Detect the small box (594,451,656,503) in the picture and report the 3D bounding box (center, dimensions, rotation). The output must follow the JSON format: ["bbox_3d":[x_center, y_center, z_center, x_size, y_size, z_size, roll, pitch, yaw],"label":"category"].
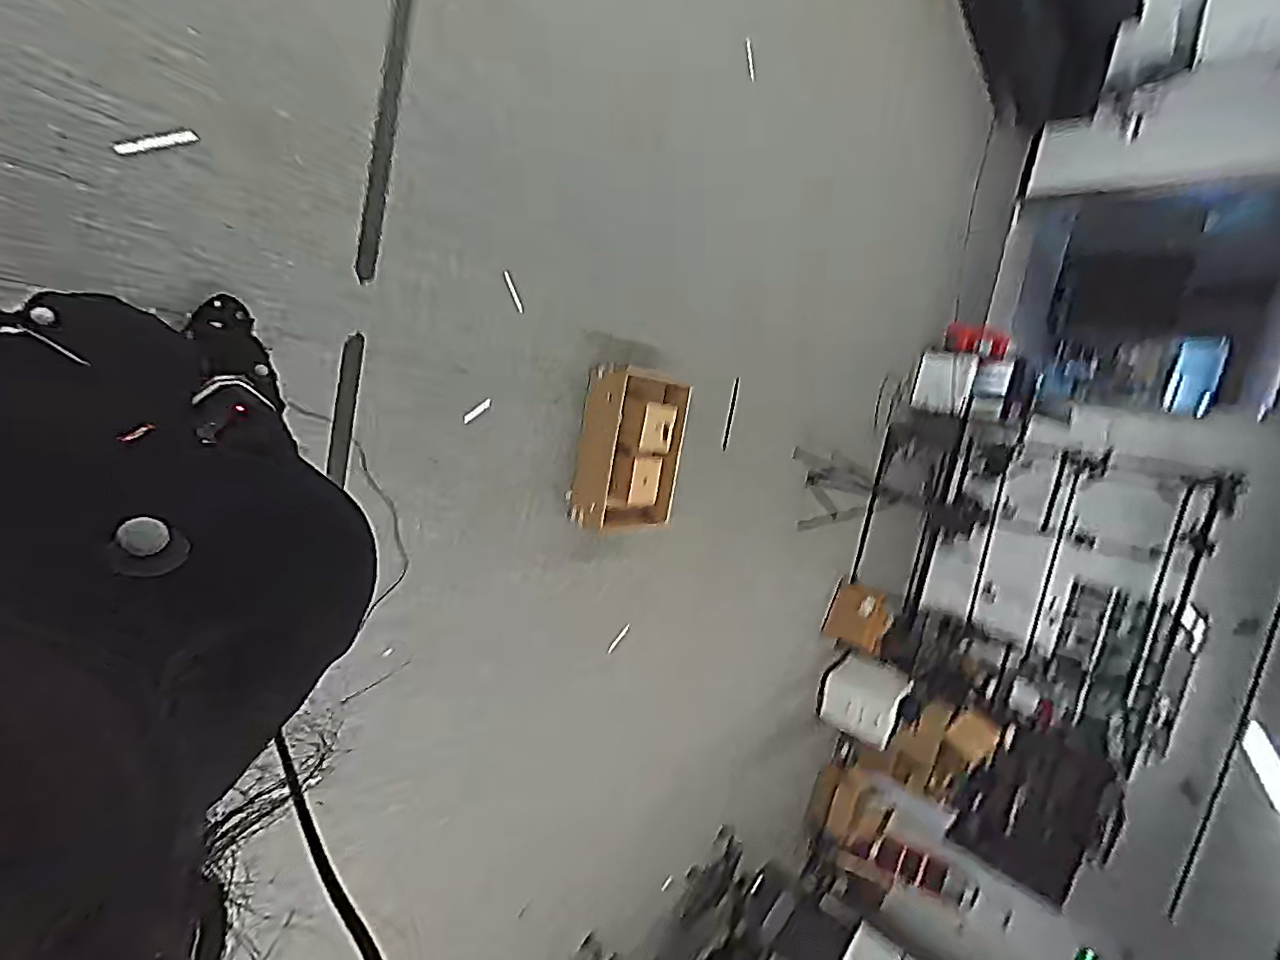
[{"bbox_3d":[-0.063,-0.013,2.128,0.168,0.176,0.179,0,101,-49],"label":"small box"}]
